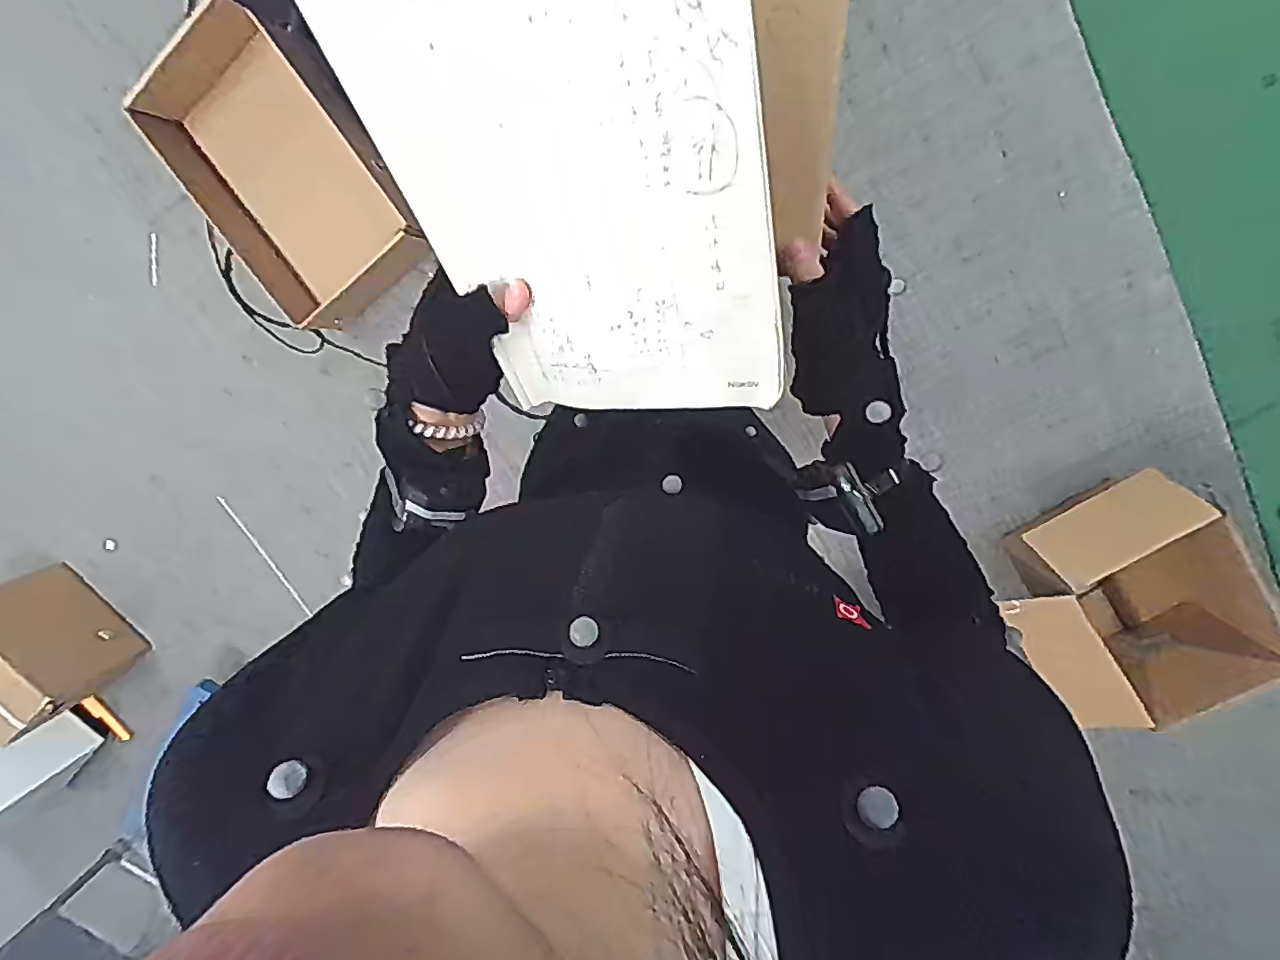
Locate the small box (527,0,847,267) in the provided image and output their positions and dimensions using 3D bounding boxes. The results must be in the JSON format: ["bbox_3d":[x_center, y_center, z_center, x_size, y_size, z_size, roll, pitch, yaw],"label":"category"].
[{"bbox_3d":[0.031,-0.249,0.388,0.179,0.176,0.168,1,116,5],"label":"small box"}]
